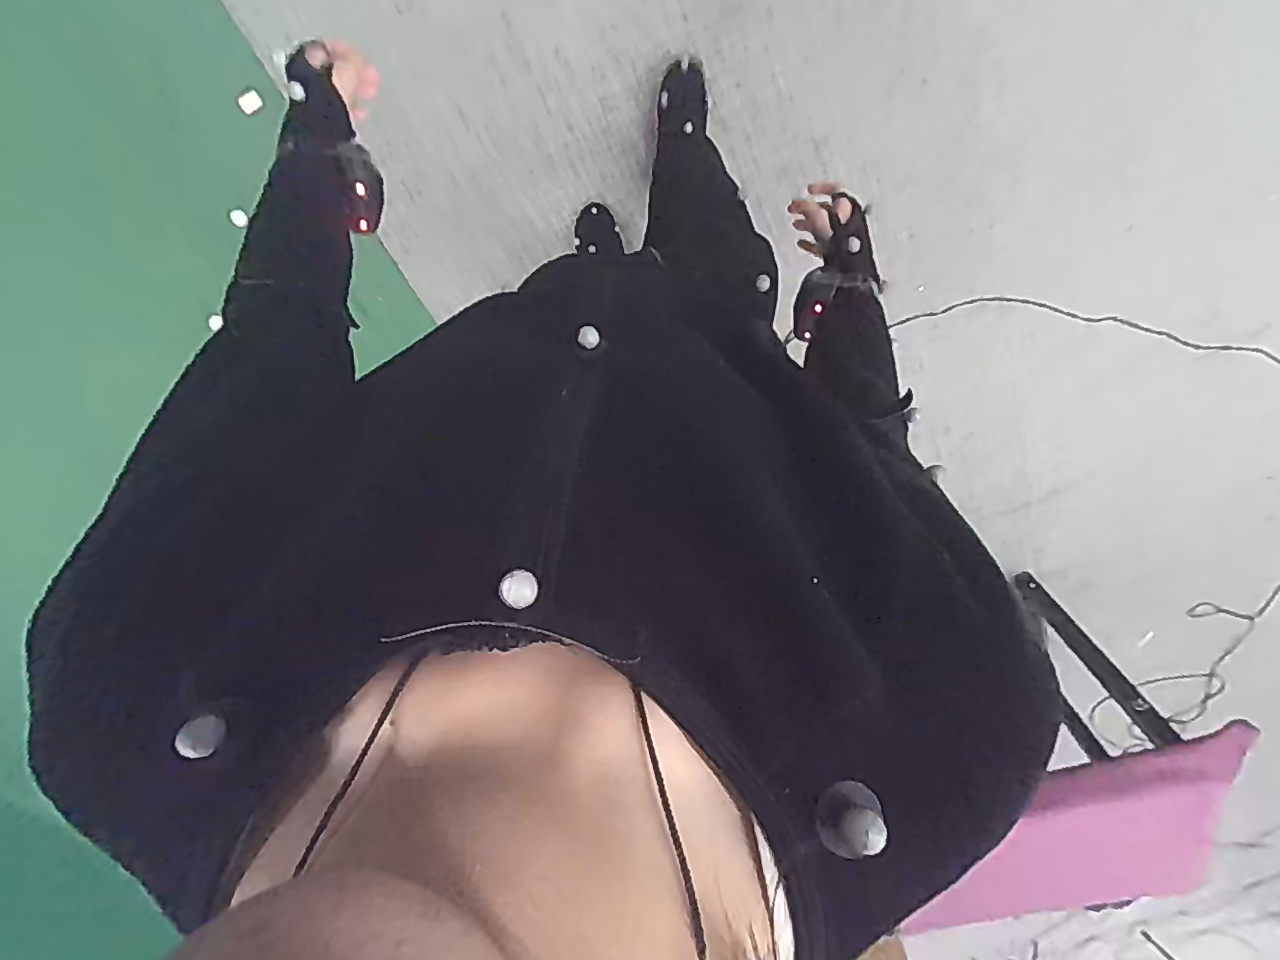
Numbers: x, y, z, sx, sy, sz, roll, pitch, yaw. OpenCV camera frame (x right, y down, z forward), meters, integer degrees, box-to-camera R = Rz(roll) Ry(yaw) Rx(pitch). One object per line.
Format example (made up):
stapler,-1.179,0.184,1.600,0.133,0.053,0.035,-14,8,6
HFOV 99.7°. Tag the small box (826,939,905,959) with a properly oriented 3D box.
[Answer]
small box,0.563,1.222,1.277,0.179,0.176,0.168,-19,120,9
